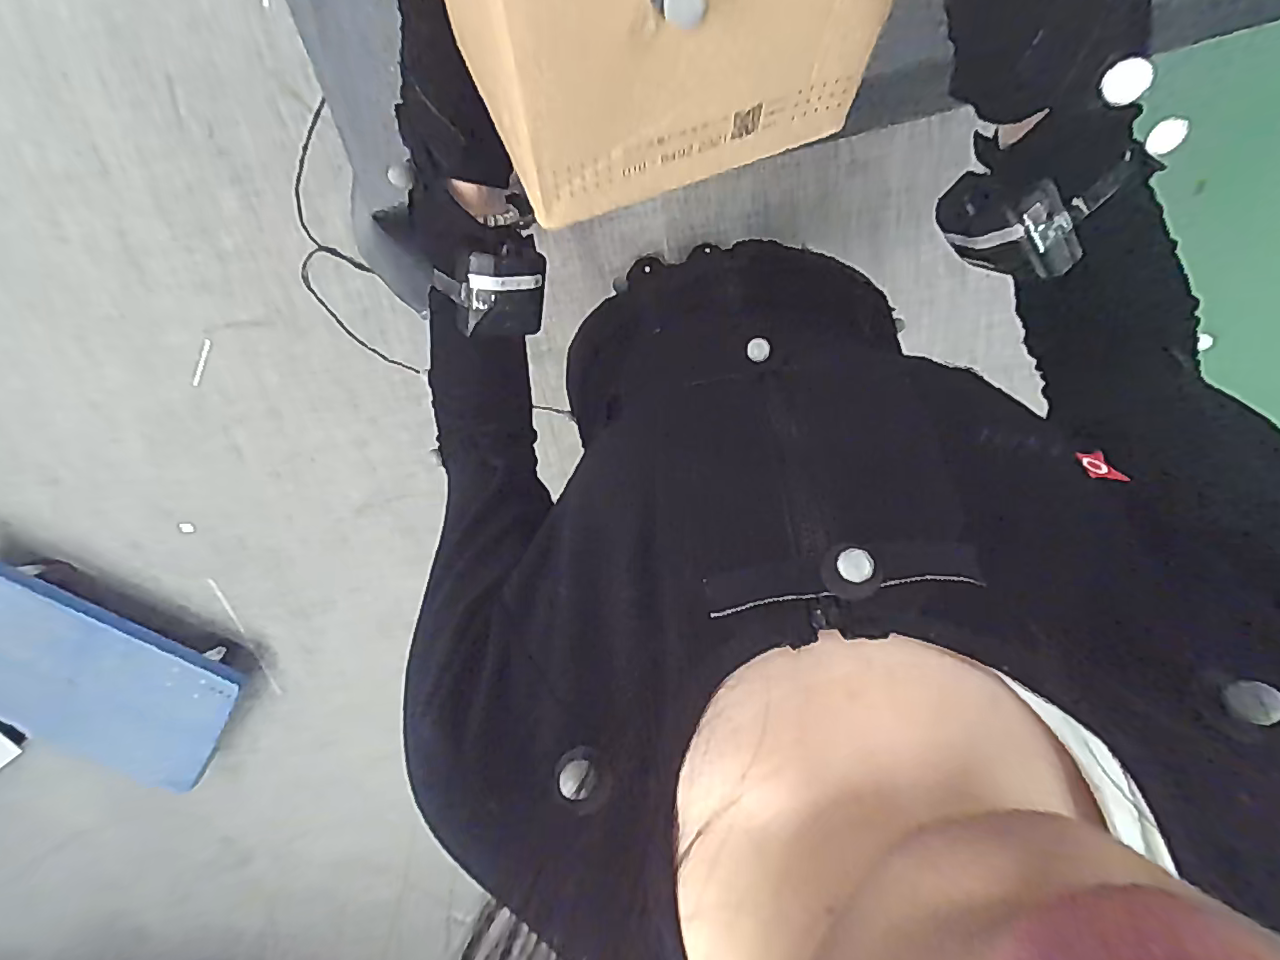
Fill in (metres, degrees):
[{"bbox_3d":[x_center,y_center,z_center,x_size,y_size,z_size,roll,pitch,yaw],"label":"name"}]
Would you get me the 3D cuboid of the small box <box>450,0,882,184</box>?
[{"bbox_3d":[0.000,-0.251,0.214,0.168,0.176,0.179,-22,73,-8],"label":"small box"}]
